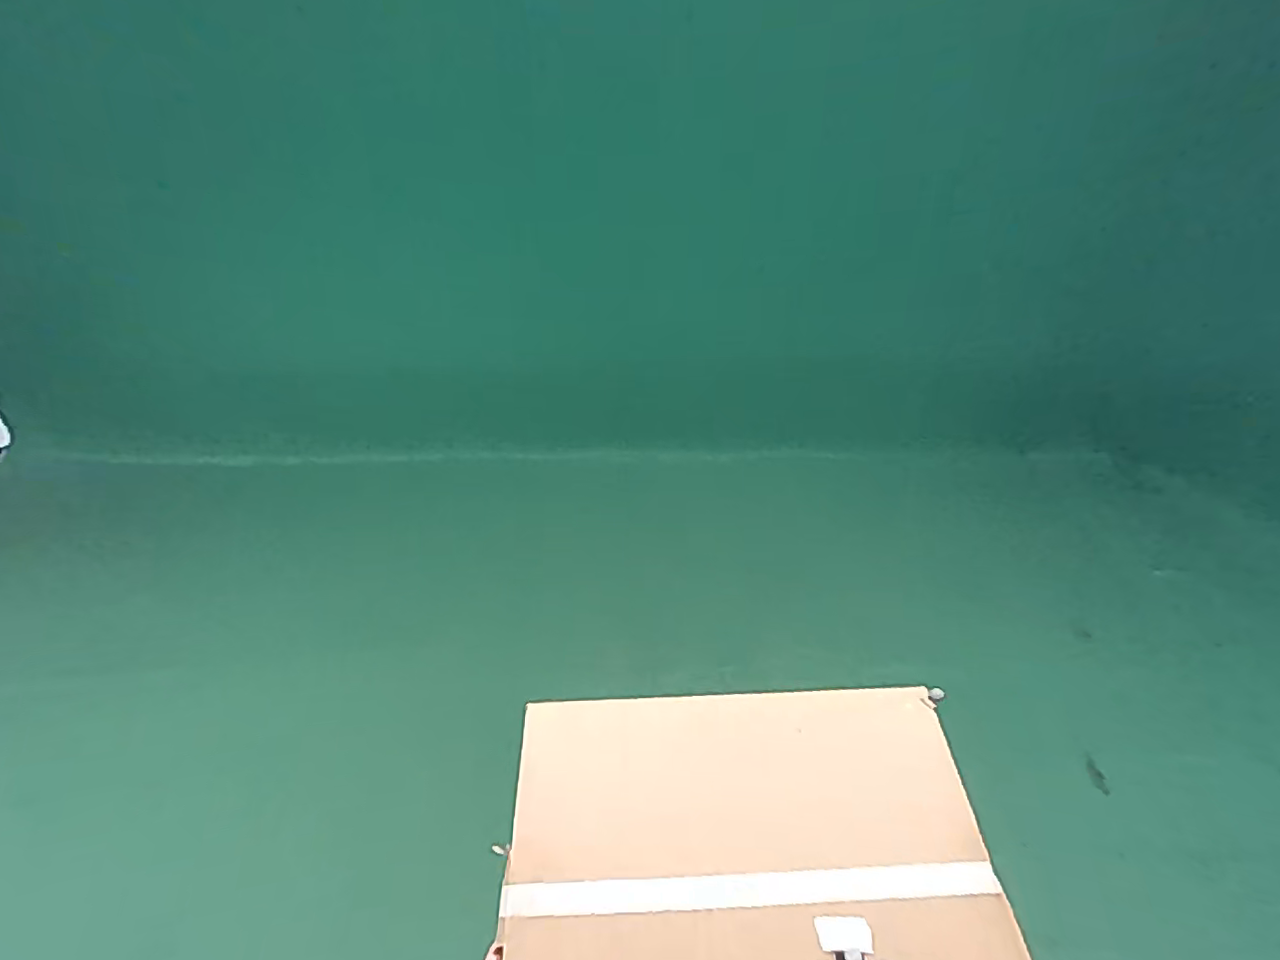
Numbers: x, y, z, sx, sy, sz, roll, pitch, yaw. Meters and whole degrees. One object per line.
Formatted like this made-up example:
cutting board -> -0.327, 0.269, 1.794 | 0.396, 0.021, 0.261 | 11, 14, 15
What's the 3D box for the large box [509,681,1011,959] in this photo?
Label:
large box -> 0.091, 0.431, 0.575 | 0.408, 0.320, 0.320 | -2, 51, -1
